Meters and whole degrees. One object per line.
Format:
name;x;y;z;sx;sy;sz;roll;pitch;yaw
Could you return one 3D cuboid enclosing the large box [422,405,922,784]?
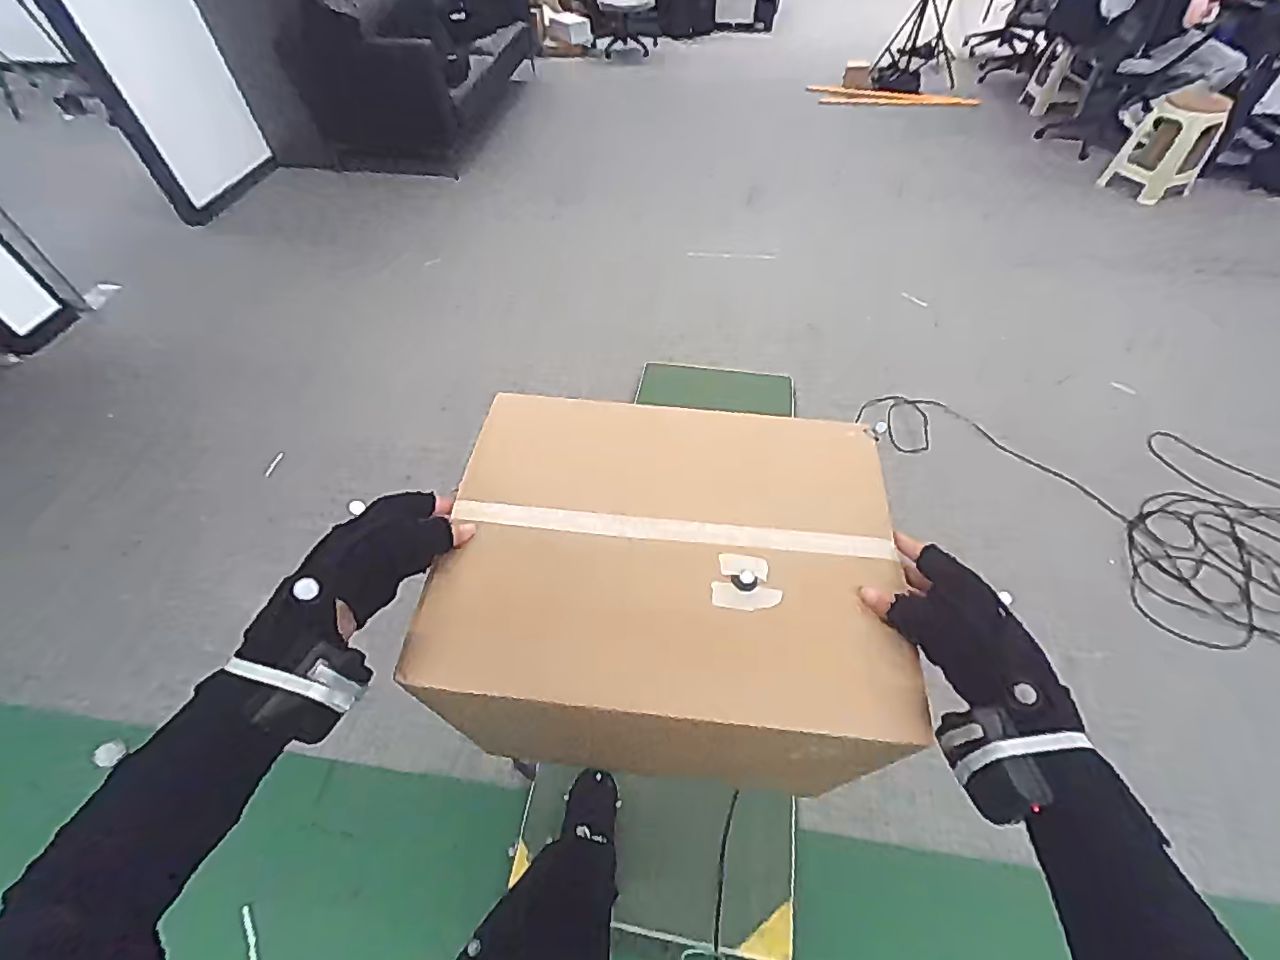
large box;0.030;0.141;0.628;0.408;0.320;0.320;5;54;2
